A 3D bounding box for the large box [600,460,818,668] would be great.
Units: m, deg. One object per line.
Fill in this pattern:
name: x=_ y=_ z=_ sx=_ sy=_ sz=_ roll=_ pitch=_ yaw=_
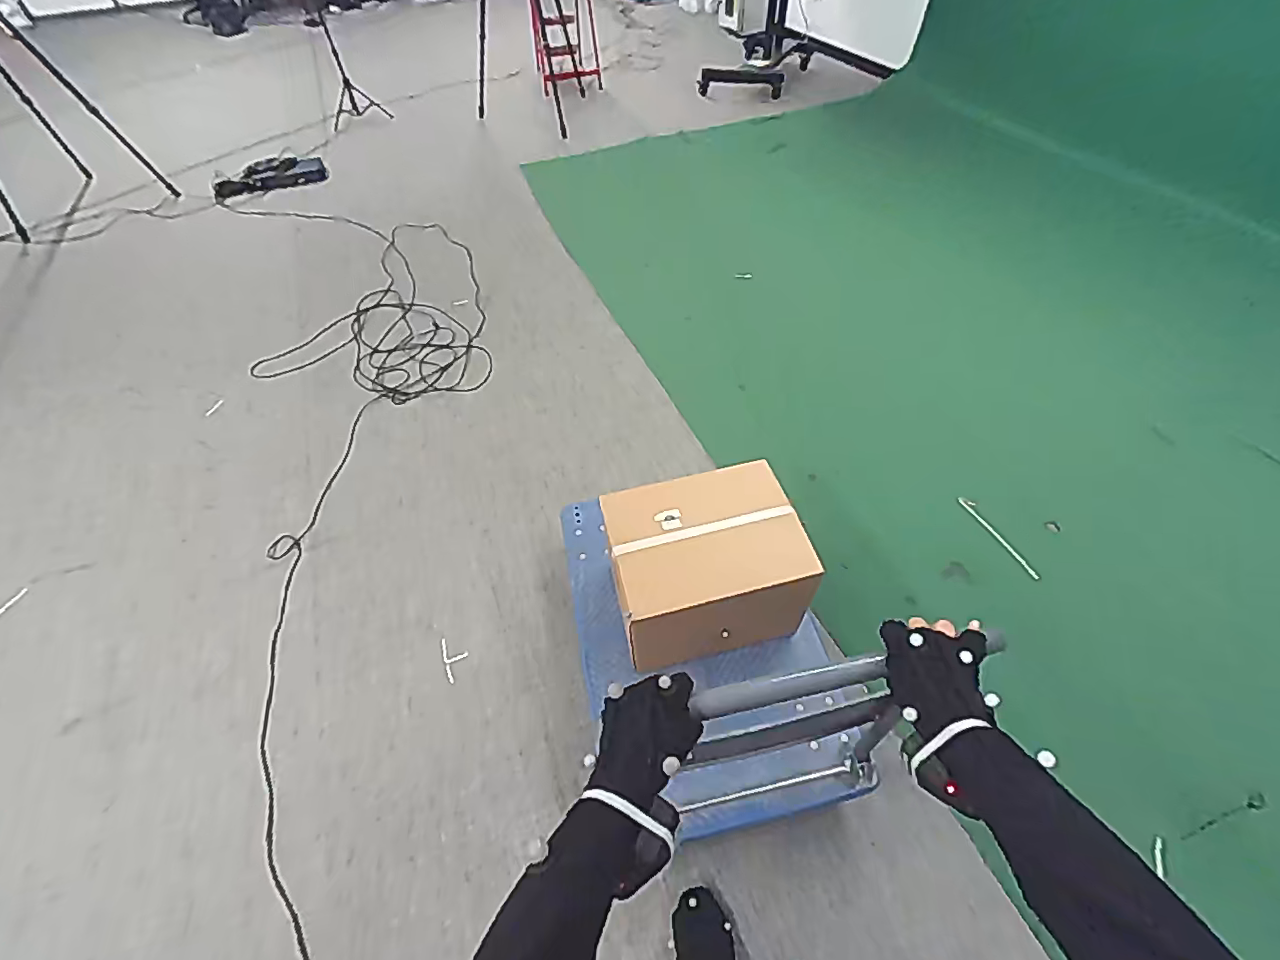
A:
large box: x=0.145 y=0.203 z=1.286 sx=0.408 sy=0.320 sz=0.320 roll=-14 pitch=52 yaw=-7
